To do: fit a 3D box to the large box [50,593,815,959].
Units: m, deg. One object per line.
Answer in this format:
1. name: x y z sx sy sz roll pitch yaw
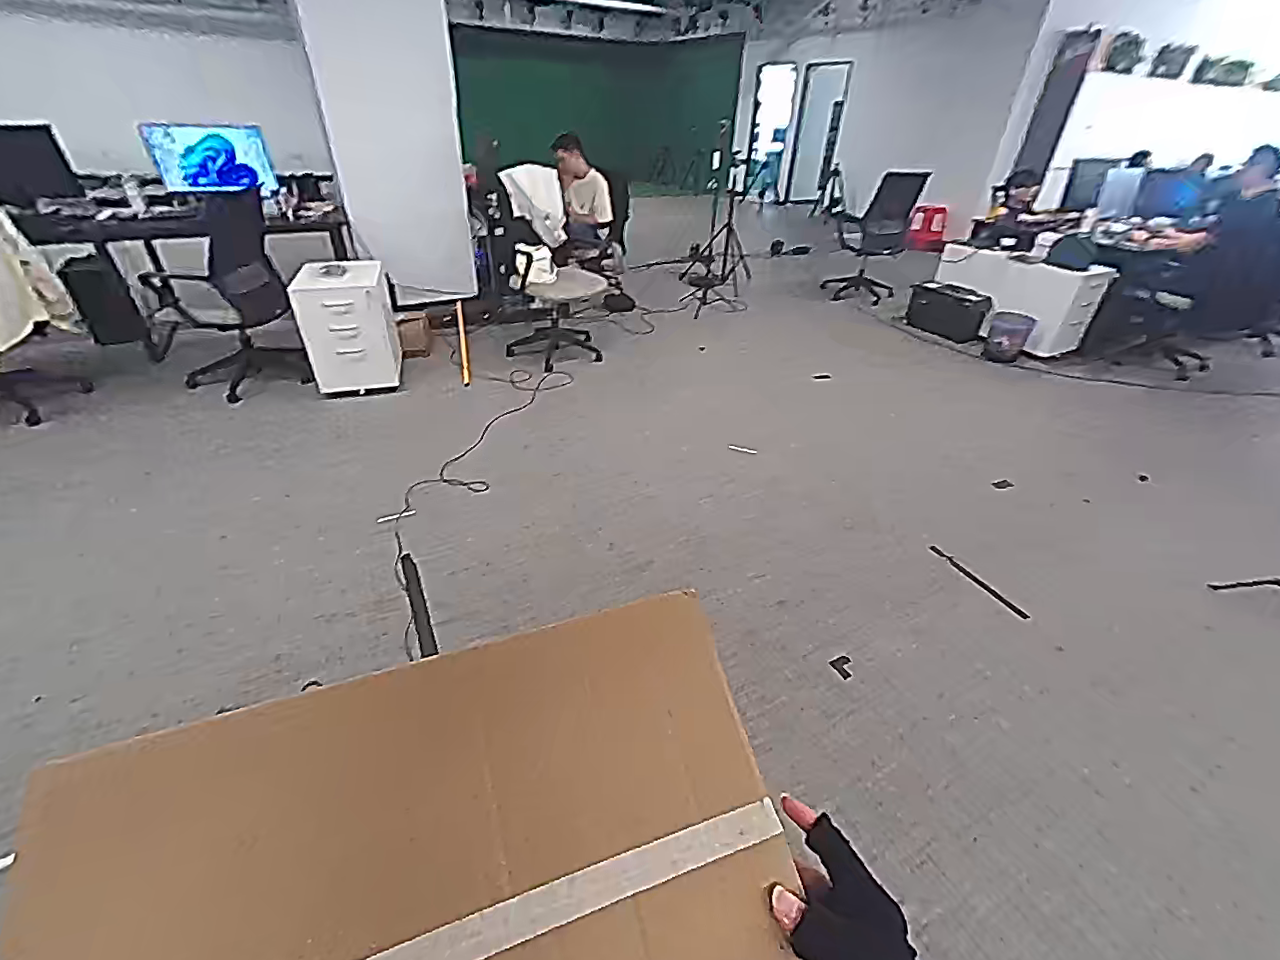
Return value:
1. large box: -0.128 0.329 0.440 0.408 0.320 0.320 -12 66 -15
